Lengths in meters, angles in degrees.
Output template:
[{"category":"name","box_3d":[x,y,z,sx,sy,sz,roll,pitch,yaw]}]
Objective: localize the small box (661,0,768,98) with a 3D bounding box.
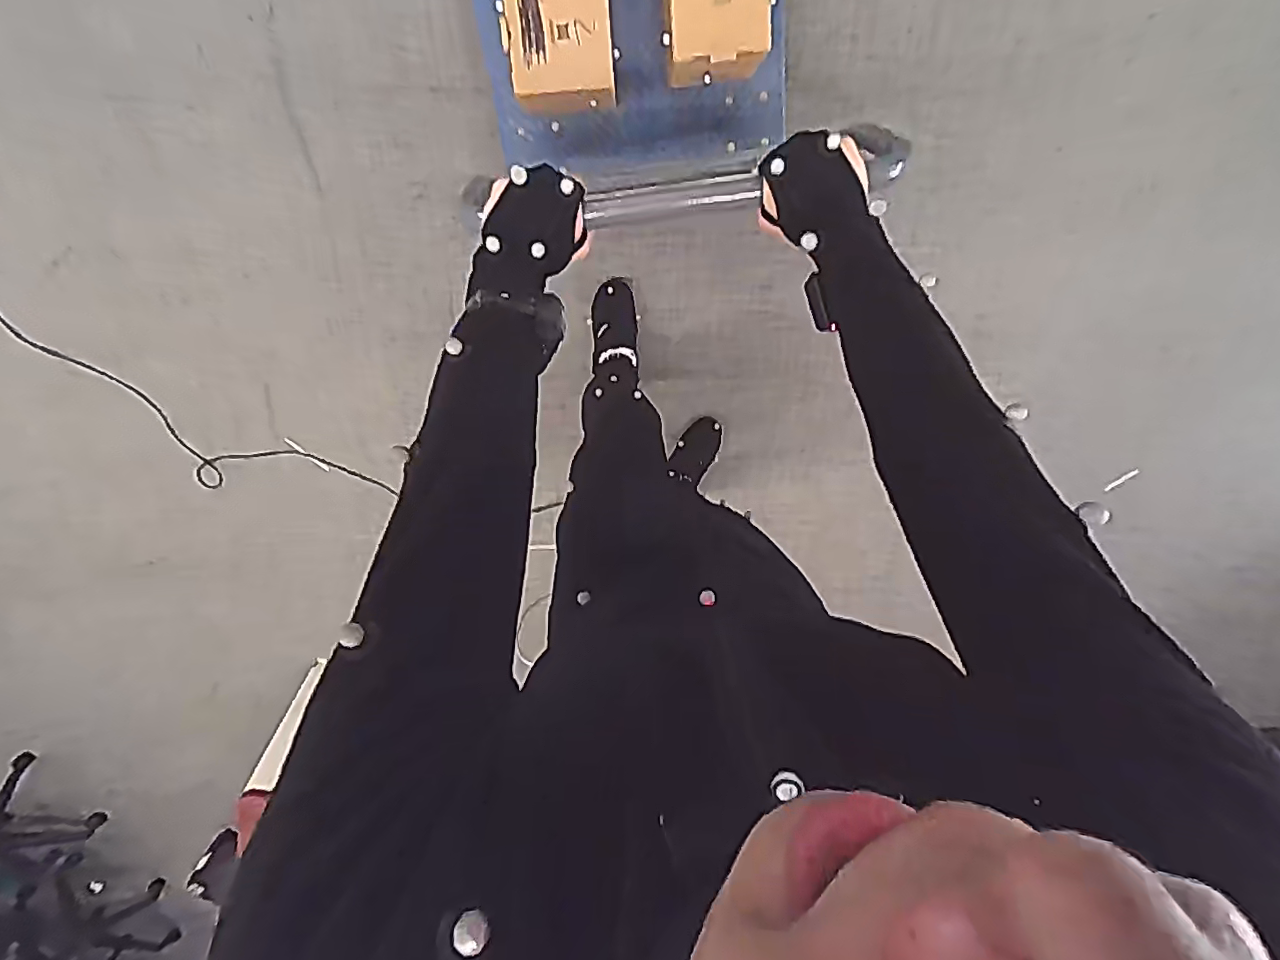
[{"category":"small box","box_3d":[0.130,-0.823,0.979,0.168,0.176,0.179,-6,114,2]}]
